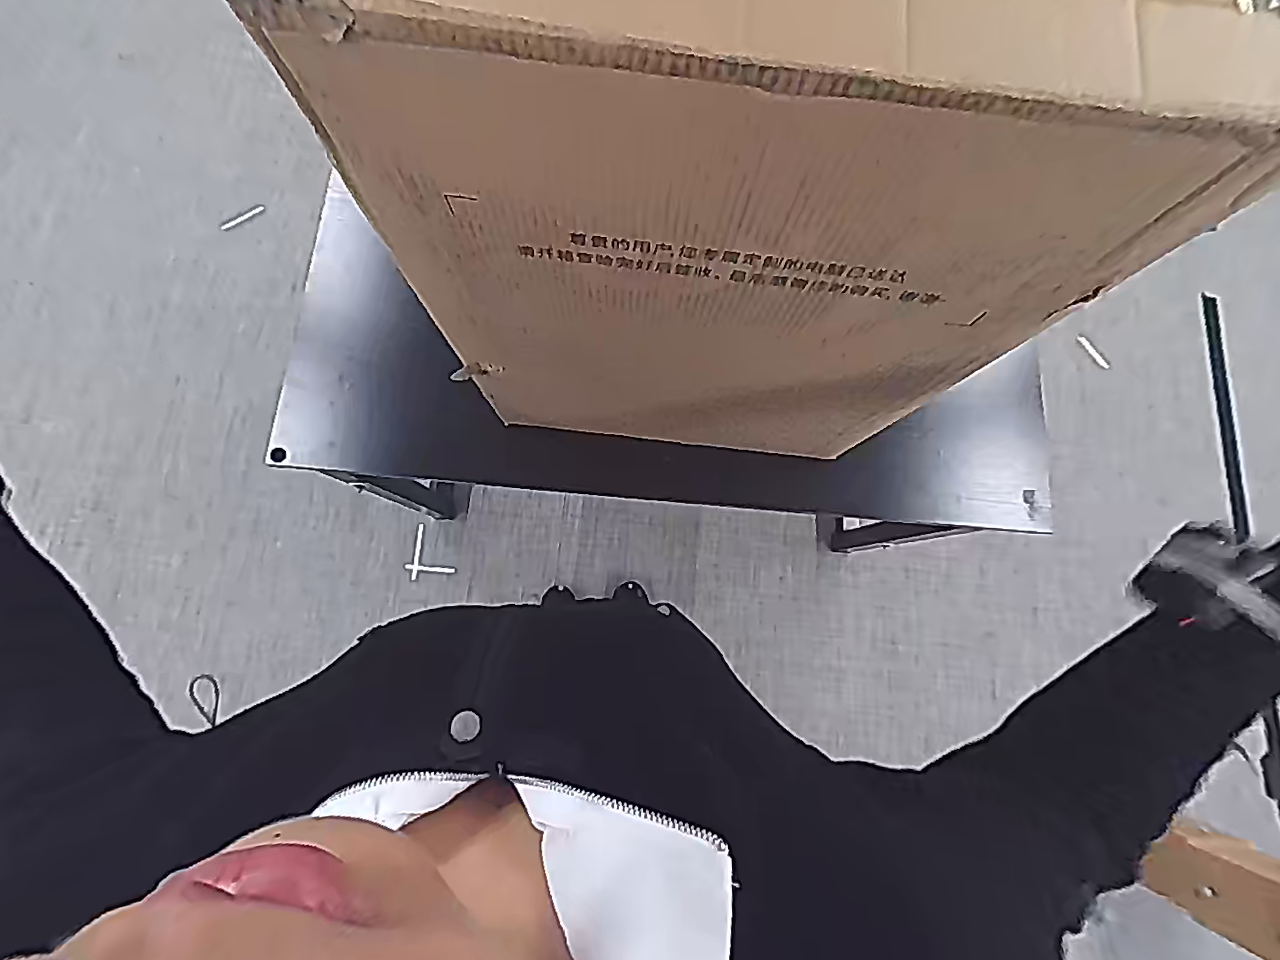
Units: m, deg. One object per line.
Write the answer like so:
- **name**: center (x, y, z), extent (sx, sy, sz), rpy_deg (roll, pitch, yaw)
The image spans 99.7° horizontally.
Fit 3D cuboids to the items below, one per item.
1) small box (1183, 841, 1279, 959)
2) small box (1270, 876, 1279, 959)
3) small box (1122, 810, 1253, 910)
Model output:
- **small box**: center (1.378, 0.930, 1.199), extent (0.179, 0.176, 0.168), rpy_deg (6, 77, -1)
- **small box**: center (1.384, 0.897, 1.039), extent (0.179, 0.176, 0.168), rpy_deg (7, 78, -1)
- **small box**: center (1.379, 0.957, 1.363), extent (0.179, 0.176, 0.168), rpy_deg (5, 78, 0)
